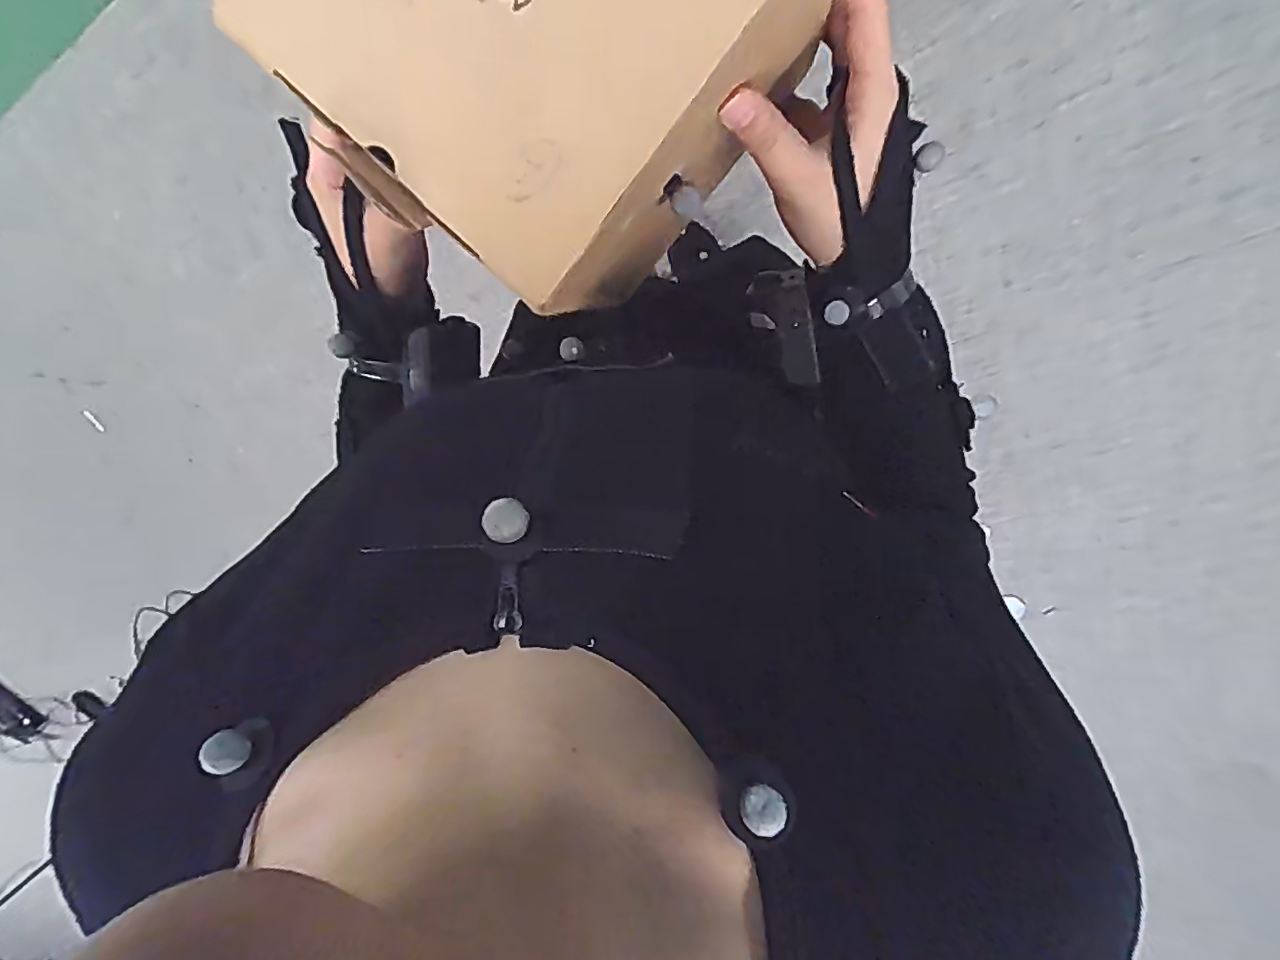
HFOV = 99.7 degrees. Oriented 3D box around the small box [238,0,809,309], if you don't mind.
[{"bbox_3d":[-0.031,-0.208,0.263,0.168,0.176,0.179,41,112,-5],"label":"small box"}]
